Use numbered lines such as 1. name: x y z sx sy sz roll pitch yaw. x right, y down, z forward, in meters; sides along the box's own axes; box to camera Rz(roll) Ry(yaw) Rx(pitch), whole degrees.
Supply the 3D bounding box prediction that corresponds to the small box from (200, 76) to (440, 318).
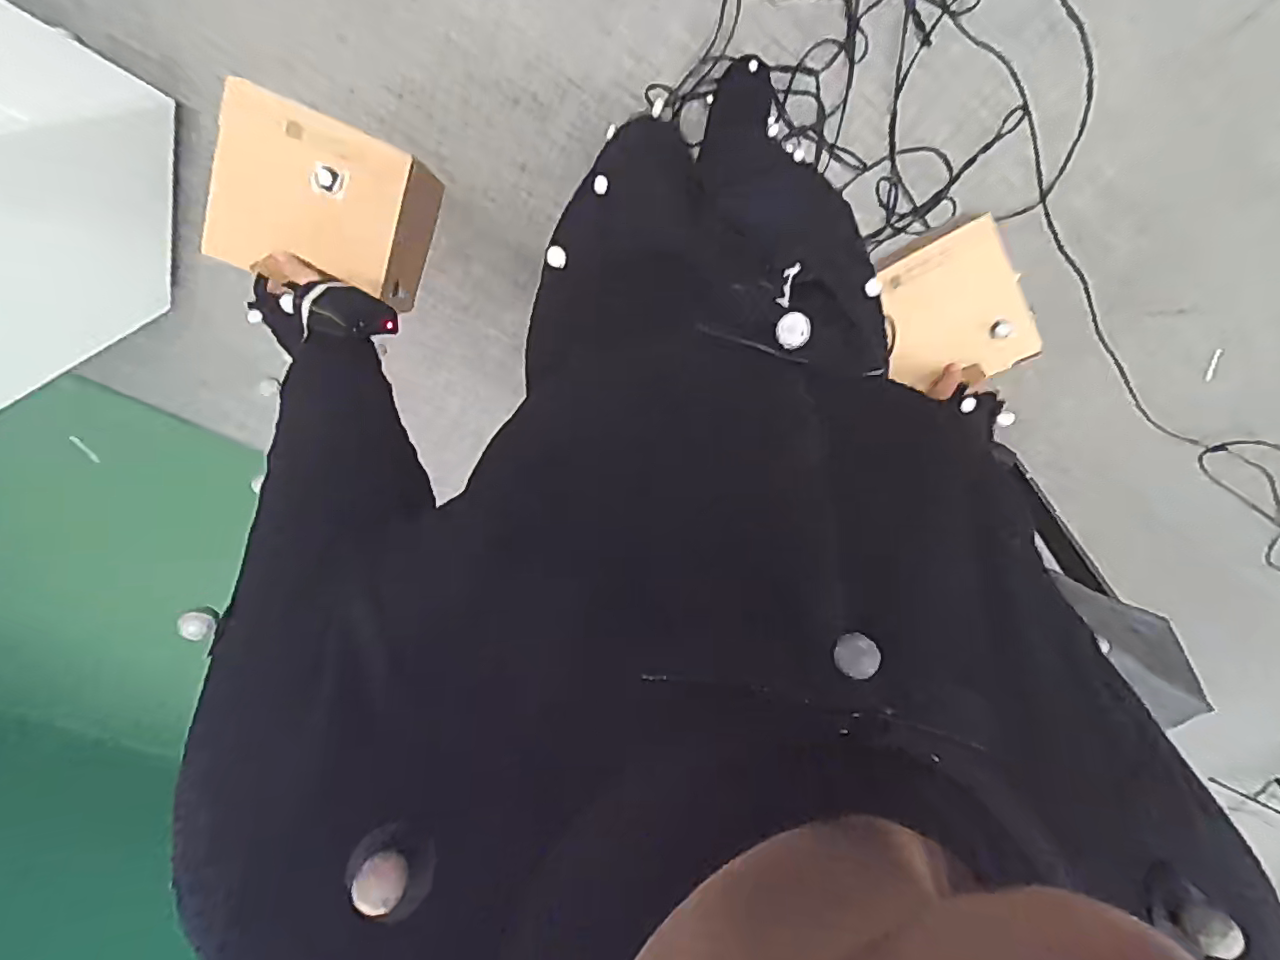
1. small box: -0.336 -0.298 0.601 0.168 0.179 0.176 18 106 -16
